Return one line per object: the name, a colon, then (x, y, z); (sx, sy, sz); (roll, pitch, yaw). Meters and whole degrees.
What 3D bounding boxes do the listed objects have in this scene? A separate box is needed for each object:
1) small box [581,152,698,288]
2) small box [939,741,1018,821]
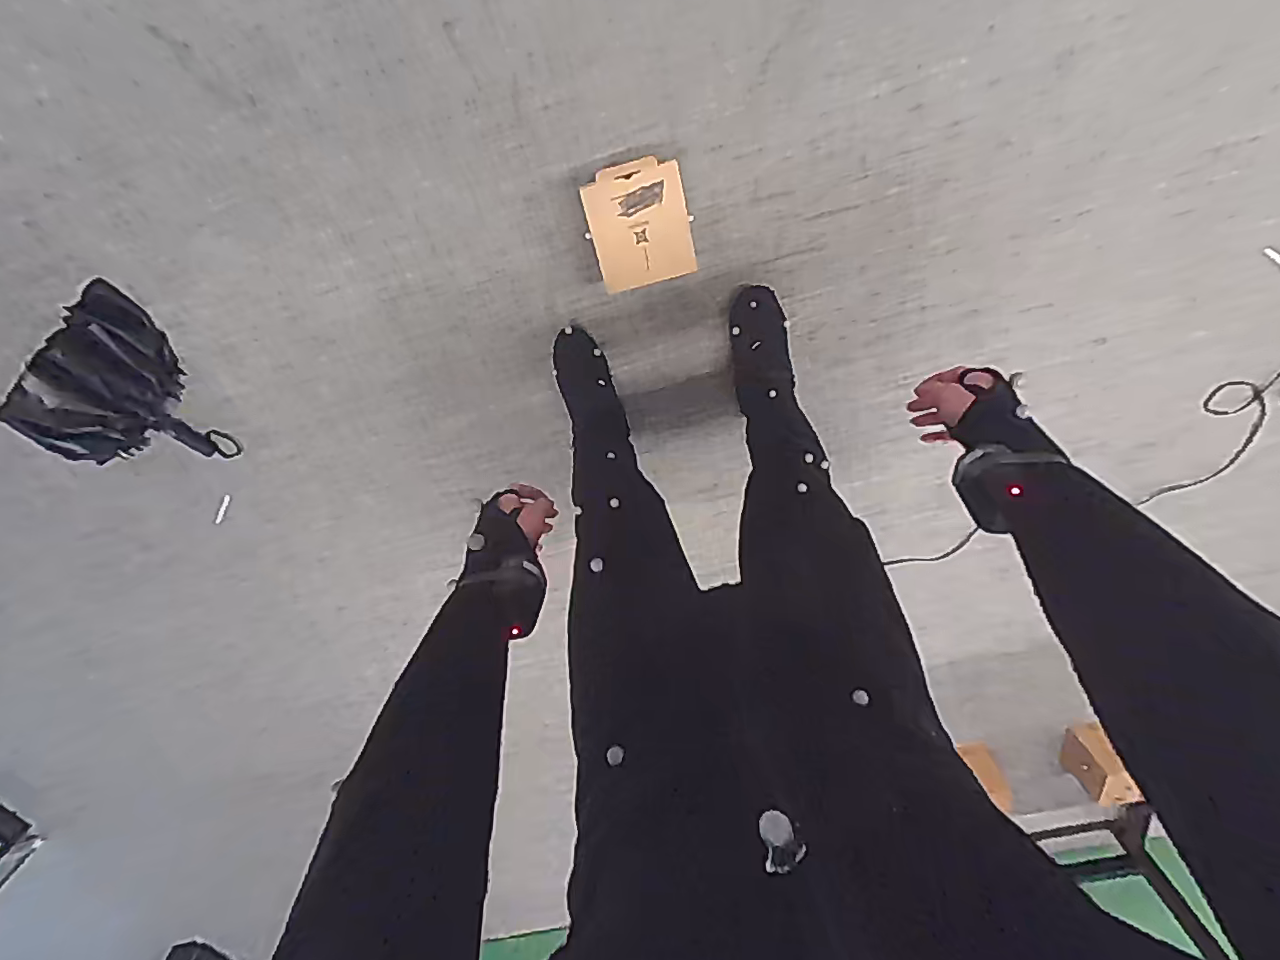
small box: (0.001, -0.466, 0.971); (0.168, 0.176, 0.179); (-13, 119, 8)
small box: (1.113, 0.990, 1.791); (0.168, 0.176, 0.179); (-12, 120, 8)
